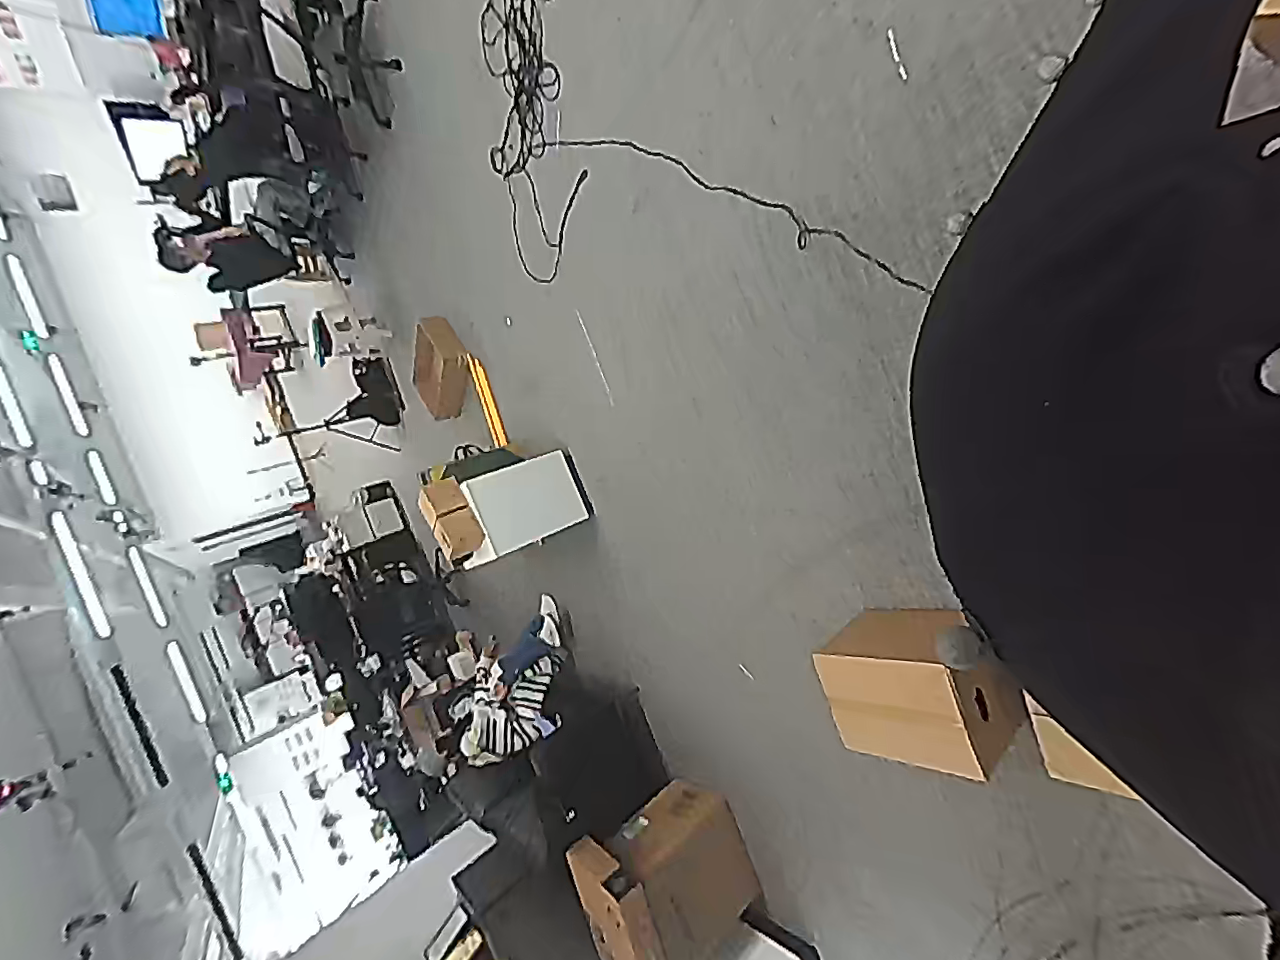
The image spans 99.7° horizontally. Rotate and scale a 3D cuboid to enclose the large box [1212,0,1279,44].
[{"bbox_3d":[0.704,-0.473,0.307,0.408,0.320,0.320,34,134,40],"label":"large box"}]
